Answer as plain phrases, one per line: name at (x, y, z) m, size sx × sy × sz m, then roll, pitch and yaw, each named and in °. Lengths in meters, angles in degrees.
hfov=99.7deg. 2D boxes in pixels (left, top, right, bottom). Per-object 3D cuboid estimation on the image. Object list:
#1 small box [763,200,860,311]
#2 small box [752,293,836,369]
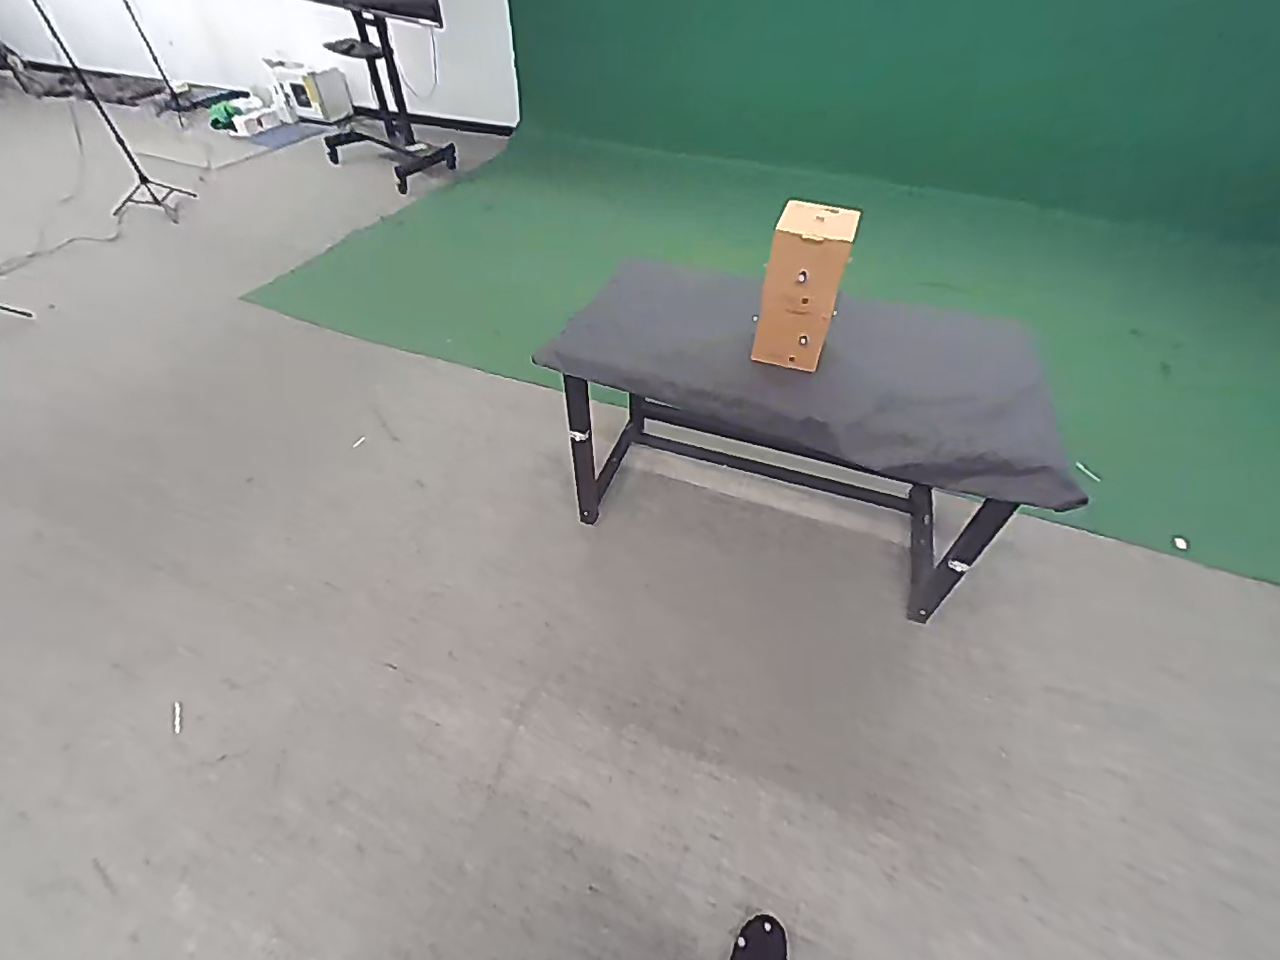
small box at (0.394, -0.520, 1.260) m, size 0.168 × 0.176 × 0.179 m, roll 18°, pitch 51°, yaw 12°
small box at (0.391, -0.407, 1.378) m, size 0.168 × 0.176 × 0.179 m, roll 16°, pitch 49°, yaw 11°
